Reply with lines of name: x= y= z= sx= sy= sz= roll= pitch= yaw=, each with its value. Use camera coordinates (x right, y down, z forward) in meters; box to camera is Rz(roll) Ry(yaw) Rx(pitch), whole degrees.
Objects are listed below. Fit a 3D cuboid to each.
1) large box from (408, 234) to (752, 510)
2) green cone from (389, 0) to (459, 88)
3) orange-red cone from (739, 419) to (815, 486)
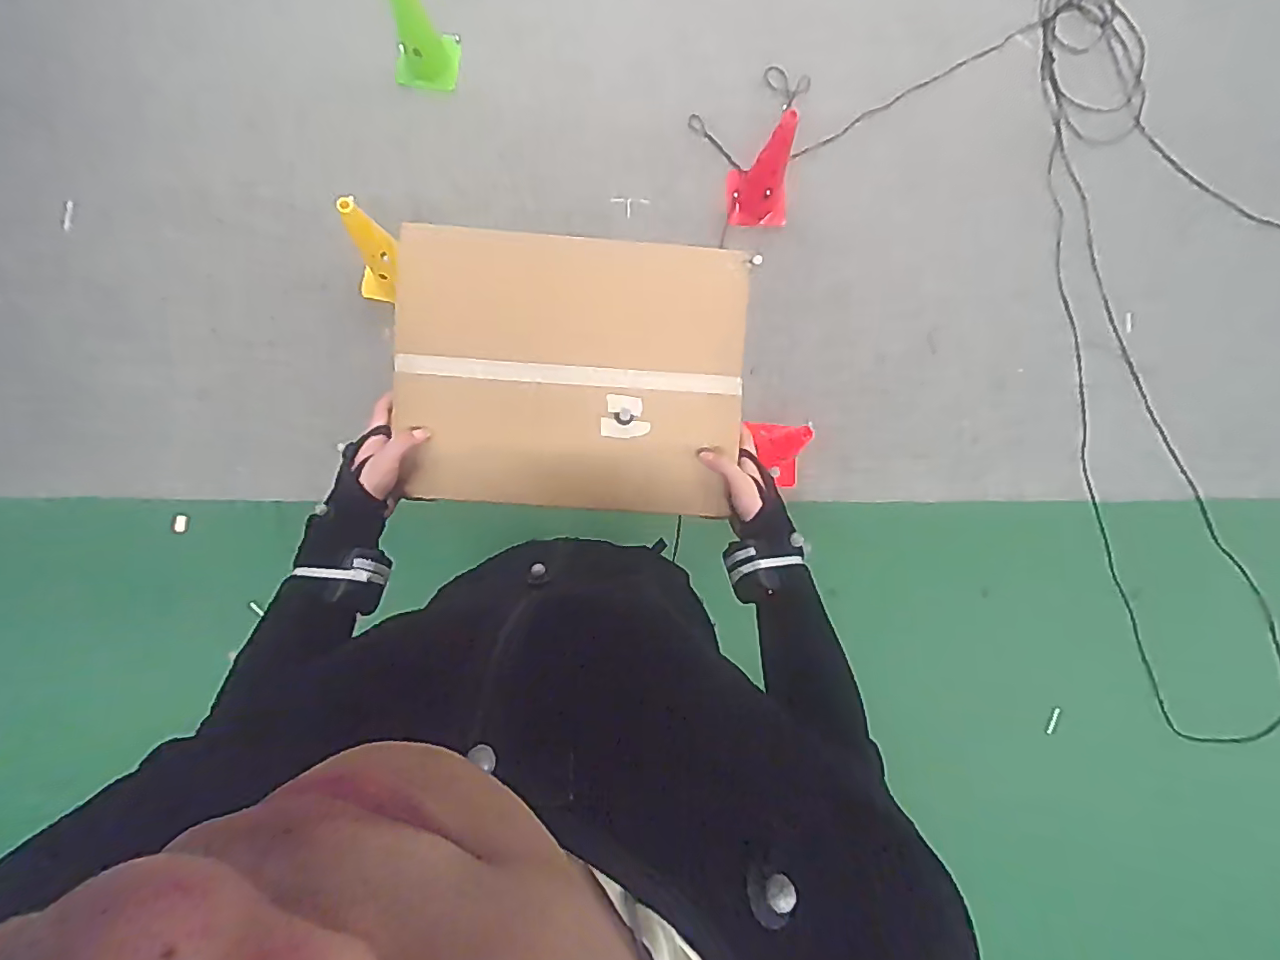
large box: x=-0.080 y=-0.133 z=0.788 sx=0.408 sy=0.320 sz=0.320 roll=3 pitch=95 yaw=-3
green cone: x=-0.699 y=-1.416 z=1.618 sx=0.200 sy=0.368 sz=0.202 roll=6 pitch=85 yaw=-2
orange-red cone: x=0.414 y=-0.103 z=1.540 sx=0.199 sy=0.360 sz=0.198 roll=8 pitch=84 yaw=-4
